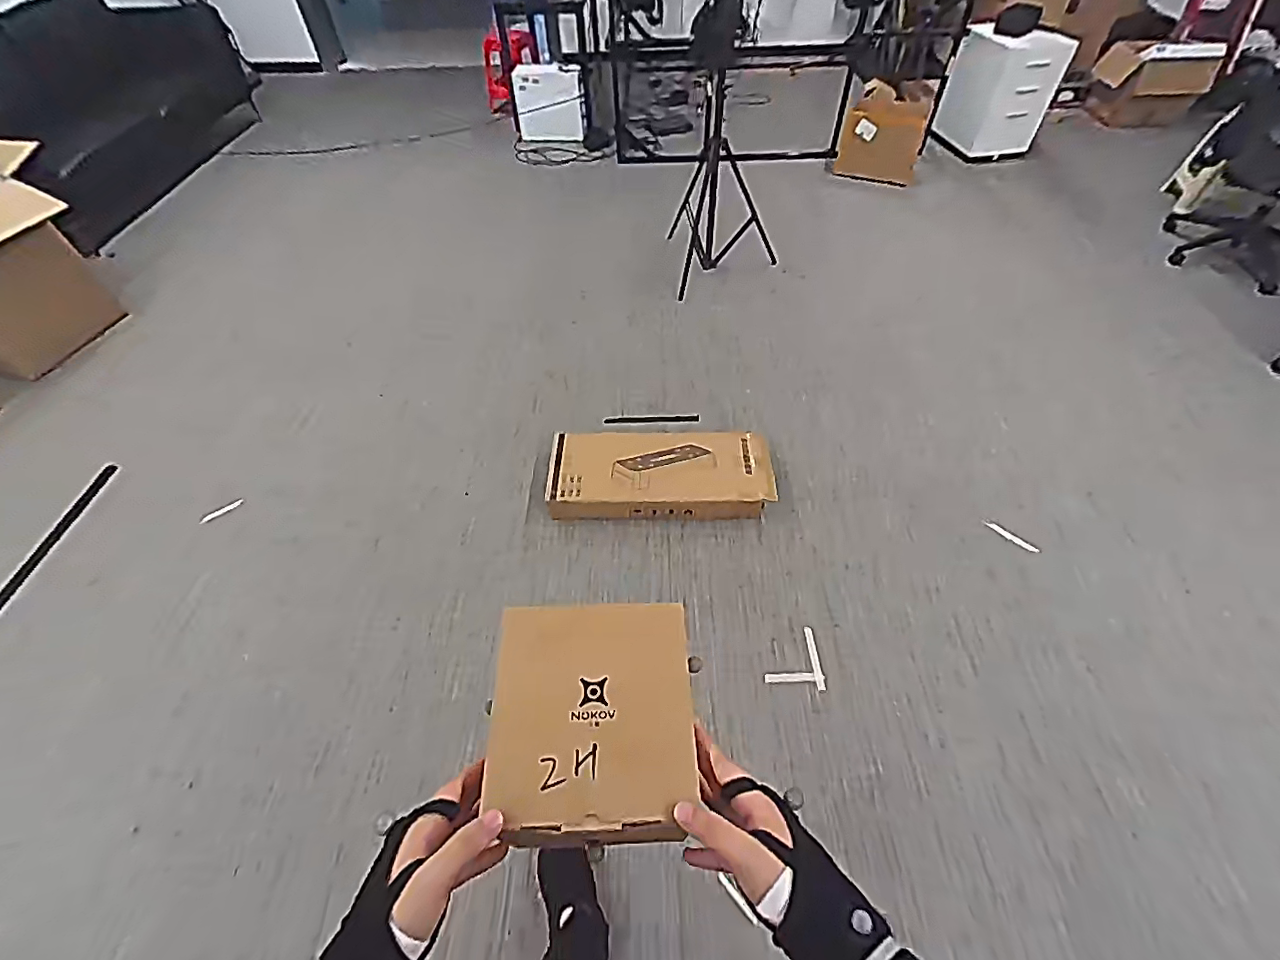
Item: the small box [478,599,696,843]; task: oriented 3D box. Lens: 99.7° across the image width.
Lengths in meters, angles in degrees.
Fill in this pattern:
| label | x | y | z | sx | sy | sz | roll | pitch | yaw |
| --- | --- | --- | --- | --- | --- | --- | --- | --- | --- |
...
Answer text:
| label | x | y | z | sx | sy | sz | roll | pitch | yaw |
| --- | --- | --- | --- | --- | --- | --- | --- | --- | --- |
| small box | -0.043 | 0.230 | 0.513 | 0.168 | 0.176 | 0.179 | -1 | 52 | -2 |
